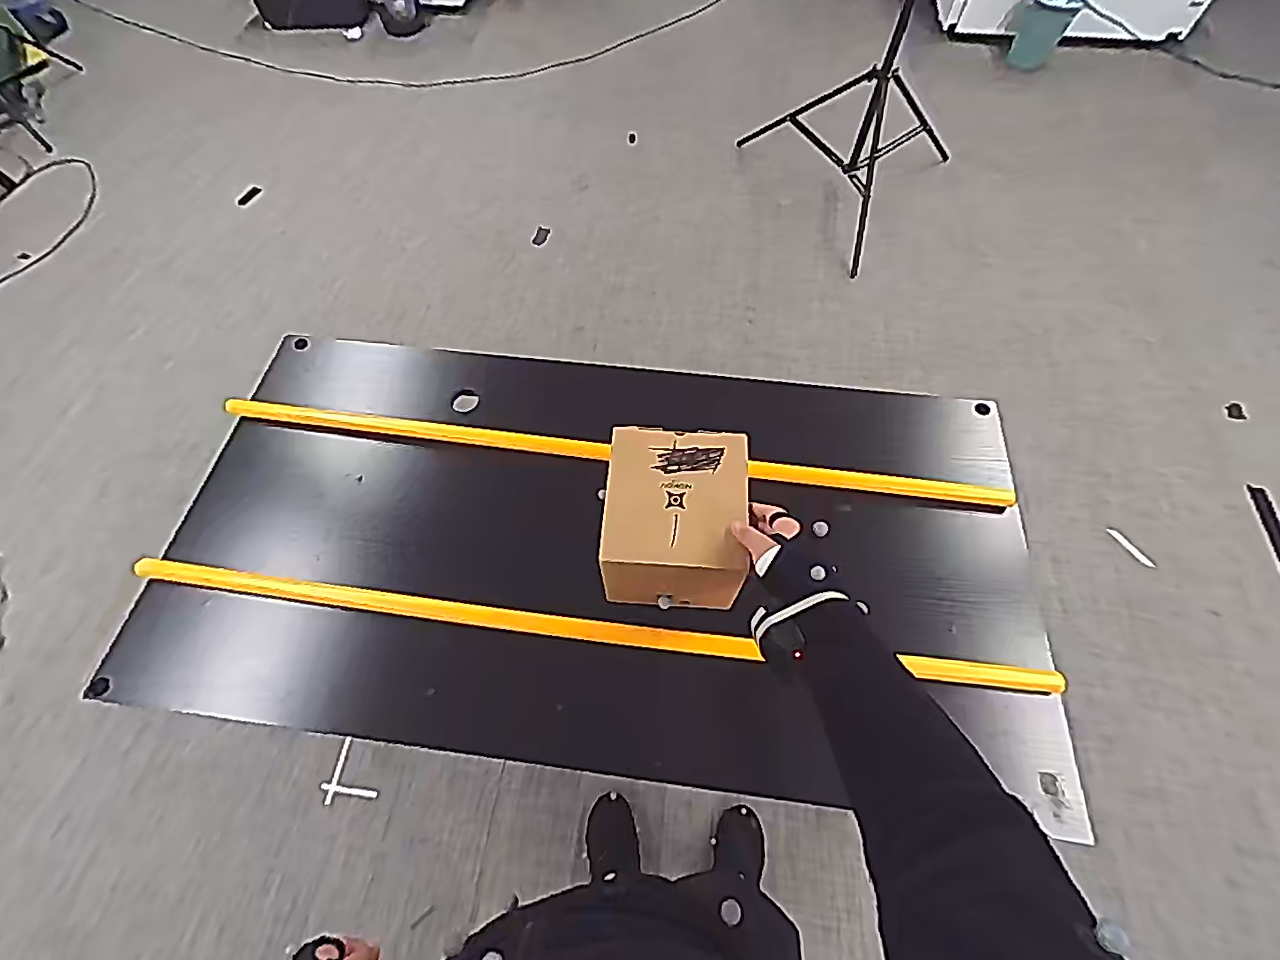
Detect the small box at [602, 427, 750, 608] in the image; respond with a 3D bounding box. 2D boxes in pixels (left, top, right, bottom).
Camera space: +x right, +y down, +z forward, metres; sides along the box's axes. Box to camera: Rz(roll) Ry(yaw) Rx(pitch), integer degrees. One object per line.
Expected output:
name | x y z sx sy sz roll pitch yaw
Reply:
small box | 0.046 0.053 0.701 0.168 0.176 0.179 3 63 3
